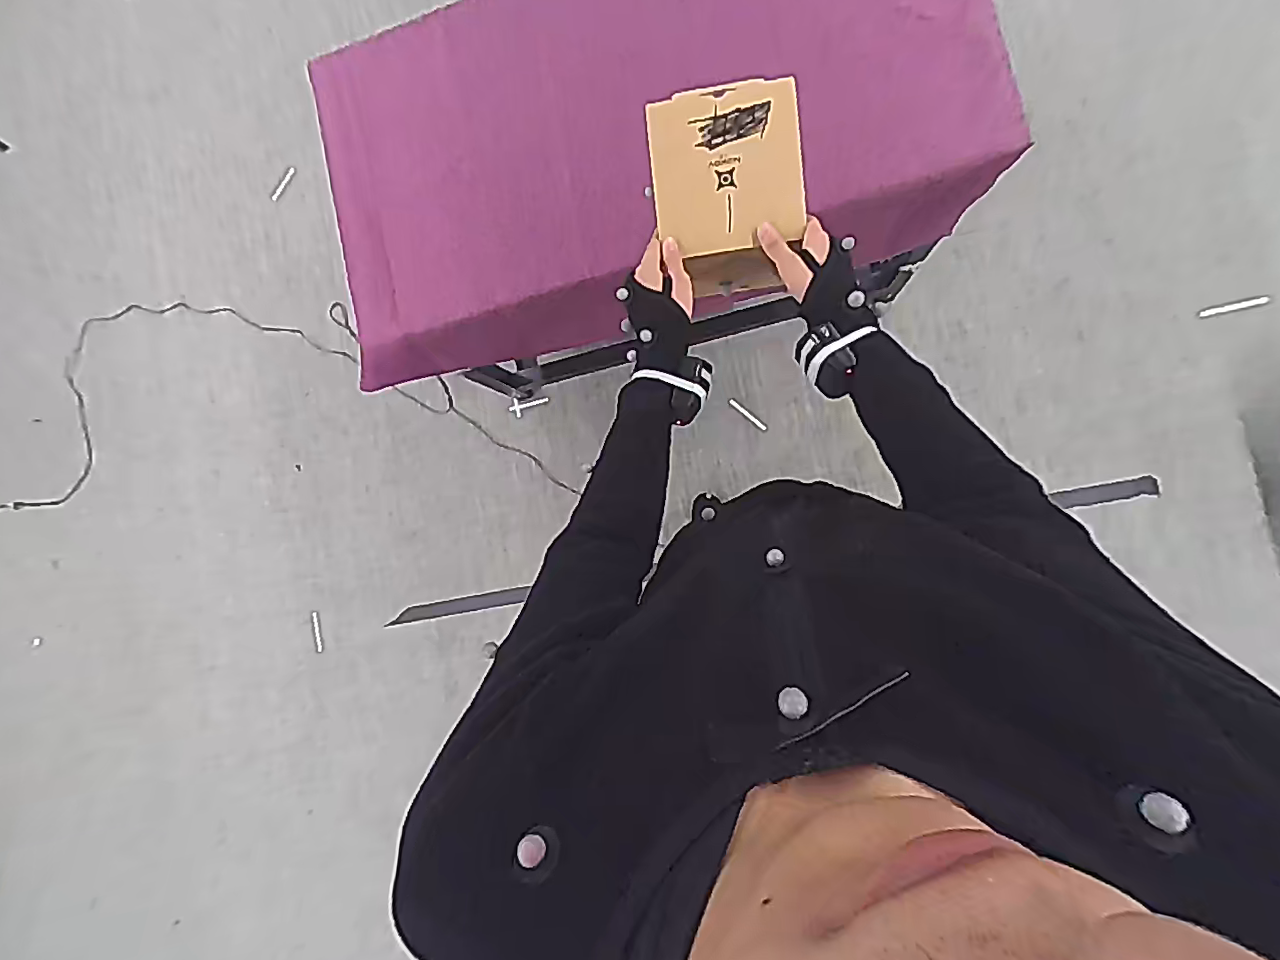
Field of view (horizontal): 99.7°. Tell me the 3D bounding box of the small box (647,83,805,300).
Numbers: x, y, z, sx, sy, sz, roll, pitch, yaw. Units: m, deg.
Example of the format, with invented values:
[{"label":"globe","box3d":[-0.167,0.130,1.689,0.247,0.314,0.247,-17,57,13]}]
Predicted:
[{"label":"small box","box3d":[0.104,-0.347,0.685,0.168,0.176,0.179,-6,93,8]}]
